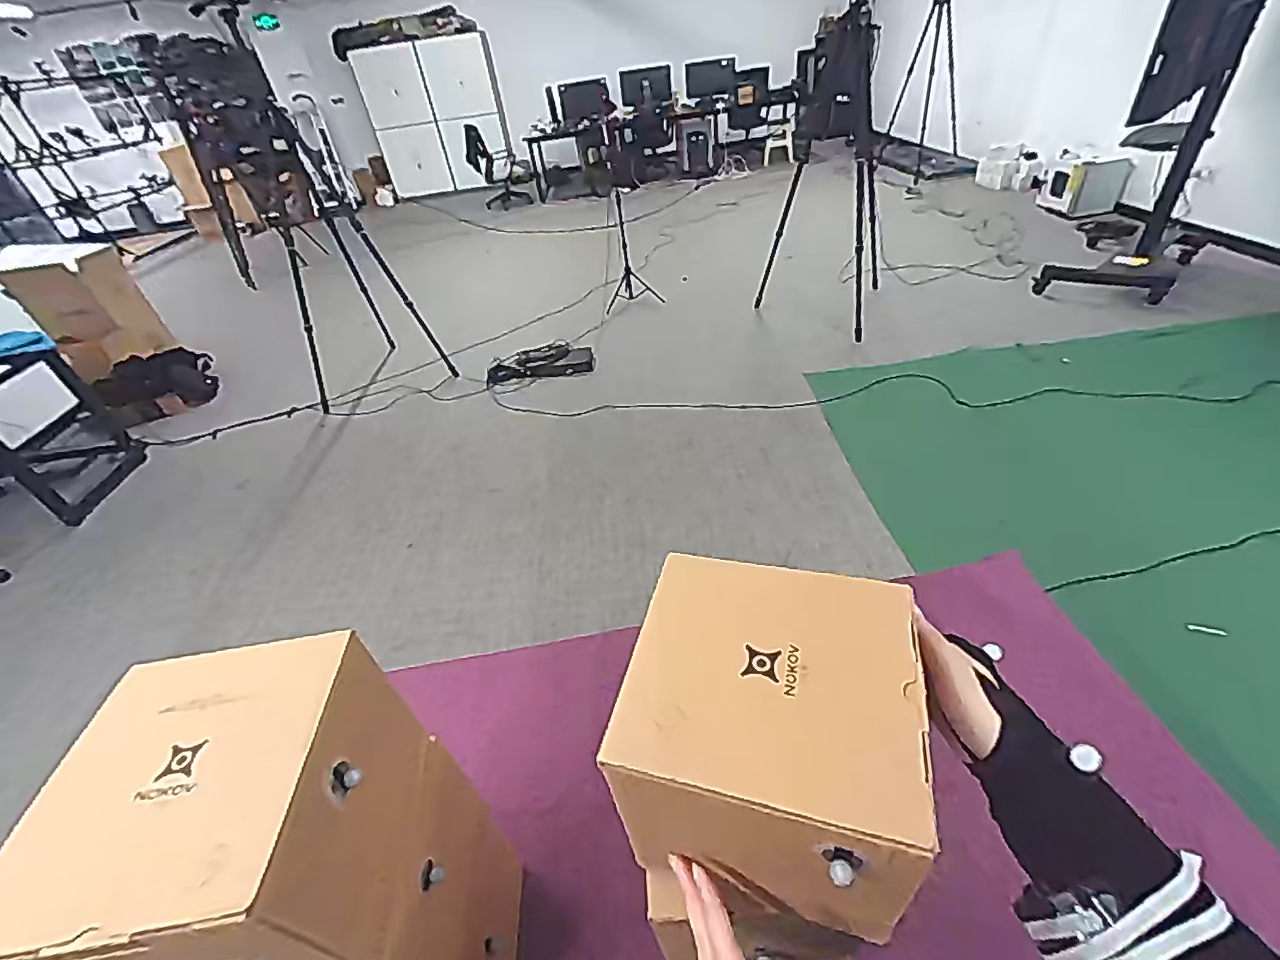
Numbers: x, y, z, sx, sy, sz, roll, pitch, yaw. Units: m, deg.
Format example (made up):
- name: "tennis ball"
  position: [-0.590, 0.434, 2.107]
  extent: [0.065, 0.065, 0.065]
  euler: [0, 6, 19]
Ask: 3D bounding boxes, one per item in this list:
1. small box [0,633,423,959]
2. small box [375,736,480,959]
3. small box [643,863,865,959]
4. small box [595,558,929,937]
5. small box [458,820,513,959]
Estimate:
- name: "small box"
  position: [-0.274, 0.239, 0.382]
  extent: [0.168, 0.176, 0.179]
  euler: [-8, 38, -1]
- name: "small box"
  position: [-0.257, 0.362, 0.486]
  extent: [0.168, 0.176, 0.179]
  euler: [-7, 38, 1]
- name: "small box"
  position: [0.090, 0.311, 0.490]
  extent: [0.168, 0.176, 0.179]
  euler: [-7, 39, 2]
- name: "small box"
  position: [0.088, 0.184, 0.386]
  extent: [0.179, 0.176, 0.168]
  euler: [8, 41, 18]
- name: "small box"
  position: [-0.242, 0.495, 0.584]
  extent: [0.168, 0.176, 0.179]
  euler: [-7, 39, 0]
